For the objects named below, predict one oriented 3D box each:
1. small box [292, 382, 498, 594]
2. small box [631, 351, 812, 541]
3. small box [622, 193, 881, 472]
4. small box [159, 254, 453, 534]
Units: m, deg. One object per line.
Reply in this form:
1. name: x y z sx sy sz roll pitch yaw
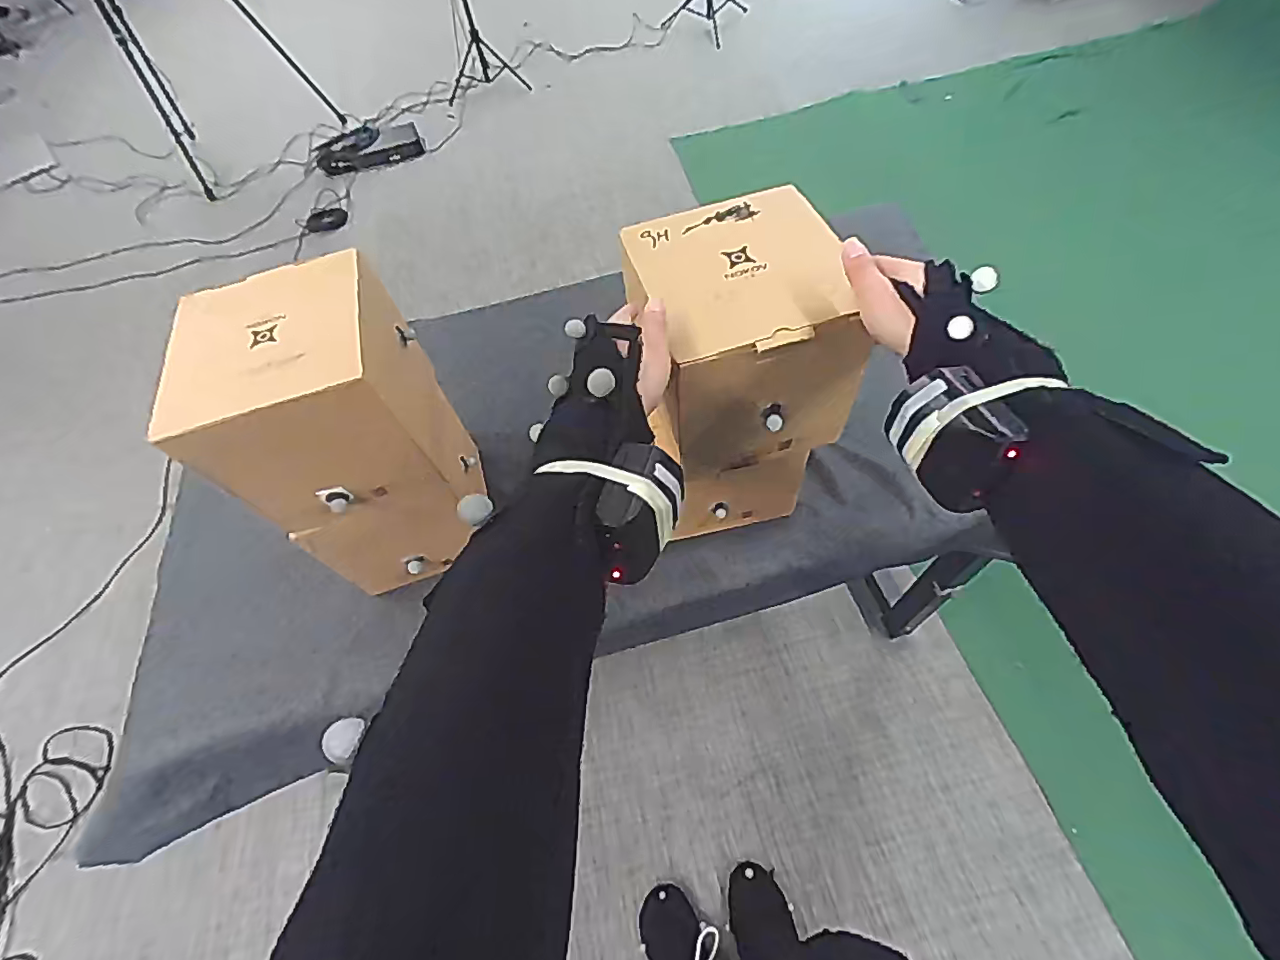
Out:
1. small box: -0.287 0.012 0.657 0.168 0.176 0.179 -19 58 -5
2. small box: 0.088 -0.051 0.654 0.168 0.176 0.179 -12 57 -2
3. small box: 0.091 -0.126 0.508 0.168 0.176 0.179 -16 58 -3
4. small box: -0.298 -0.077 0.521 0.168 0.176 0.179 -19 58 -4
